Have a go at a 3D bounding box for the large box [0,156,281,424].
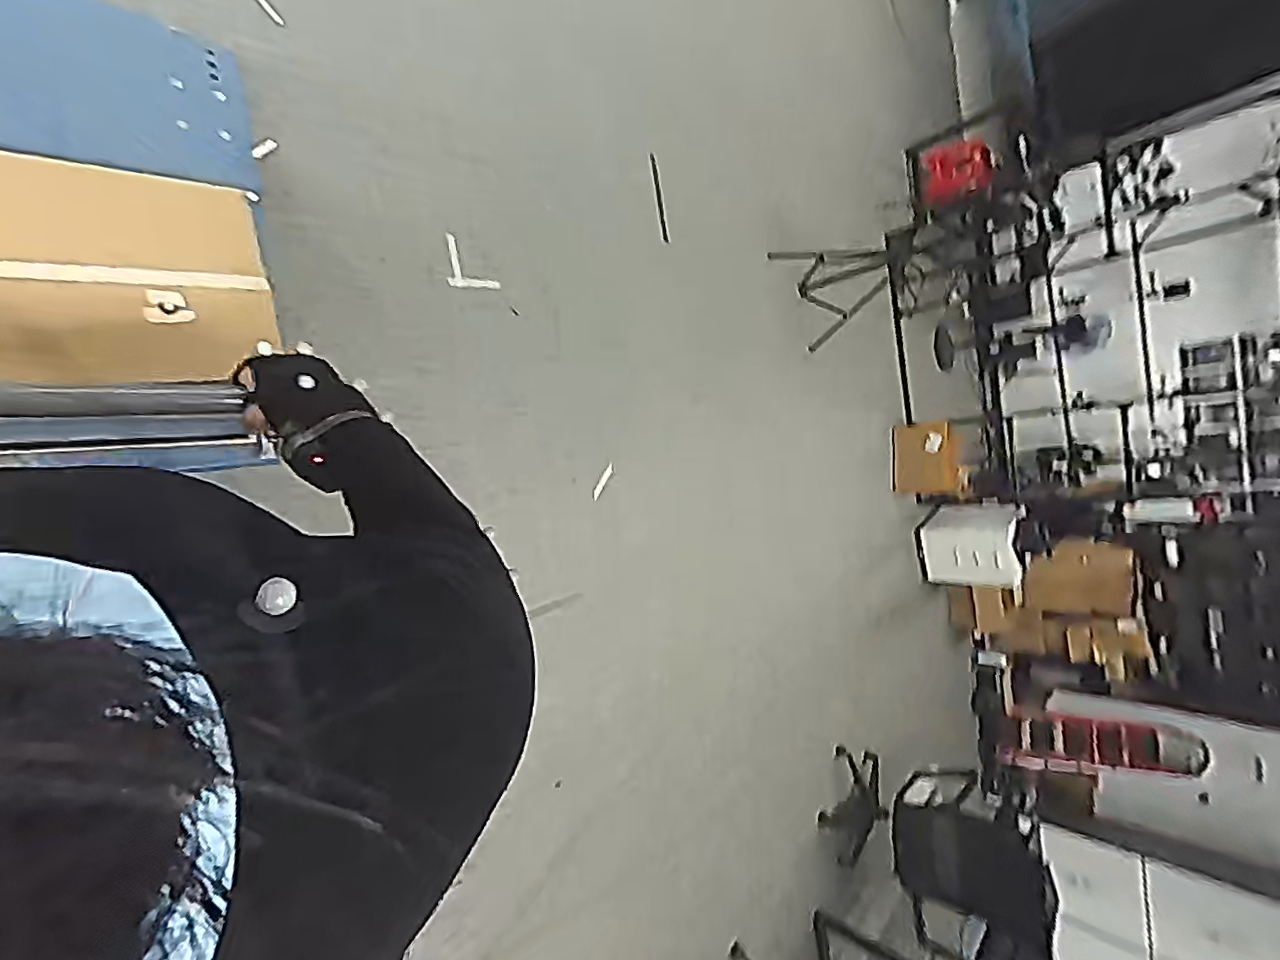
[{"bbox_3d":[-0.878,-0.278,0.872,0.408,0.320,0.320,-14,97,-45],"label":"large box"}]
